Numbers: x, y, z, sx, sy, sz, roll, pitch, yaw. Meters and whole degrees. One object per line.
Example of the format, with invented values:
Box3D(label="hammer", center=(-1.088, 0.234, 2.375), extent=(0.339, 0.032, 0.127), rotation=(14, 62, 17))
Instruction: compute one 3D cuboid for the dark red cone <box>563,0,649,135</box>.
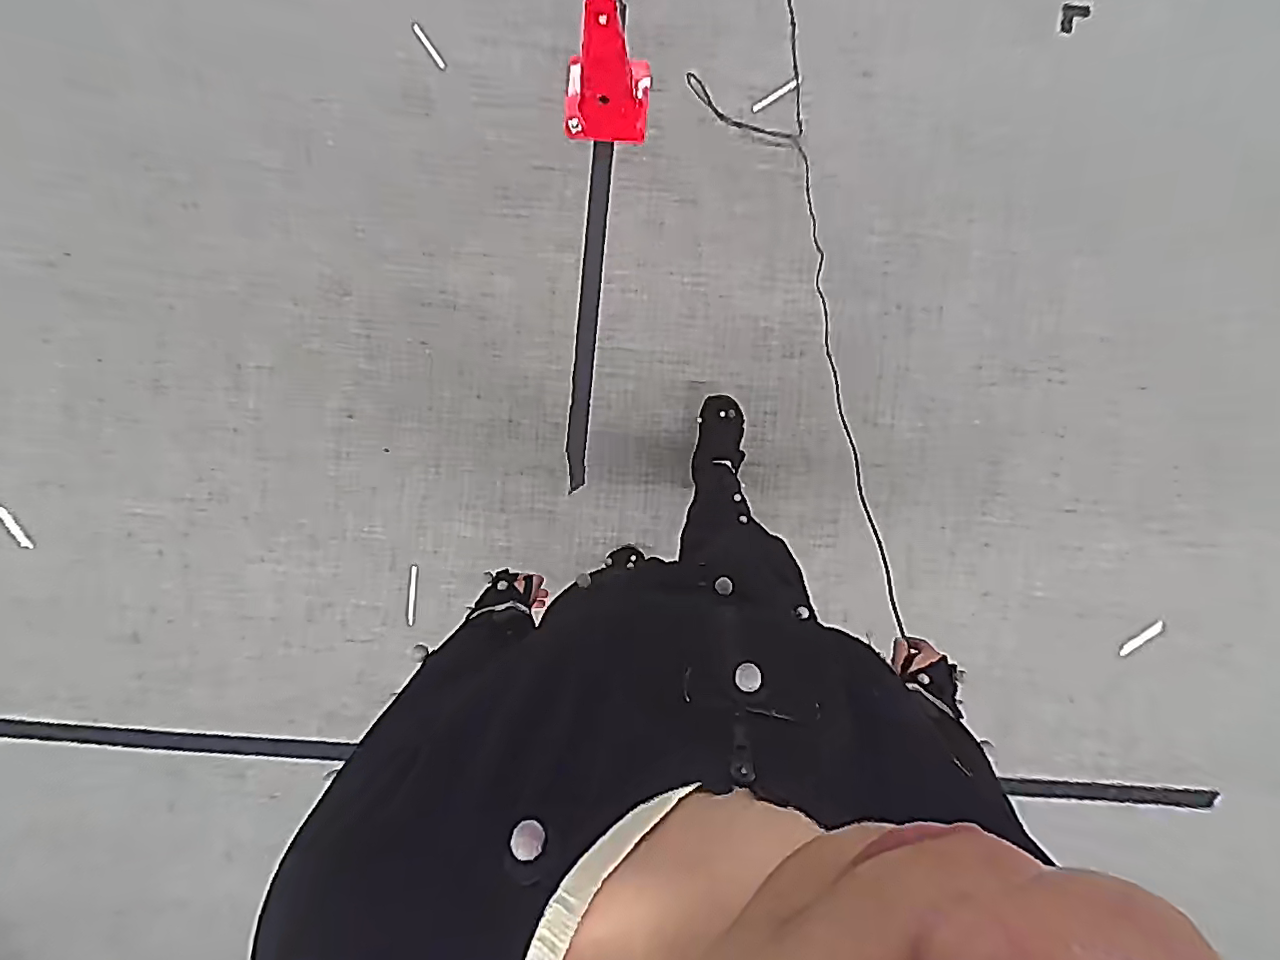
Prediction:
Box3D(label="dark red cone", center=(-0.075, -0.925, 1.128), extent=(0.201, 0.394, 0.202), rotation=(4, 92, -2))
